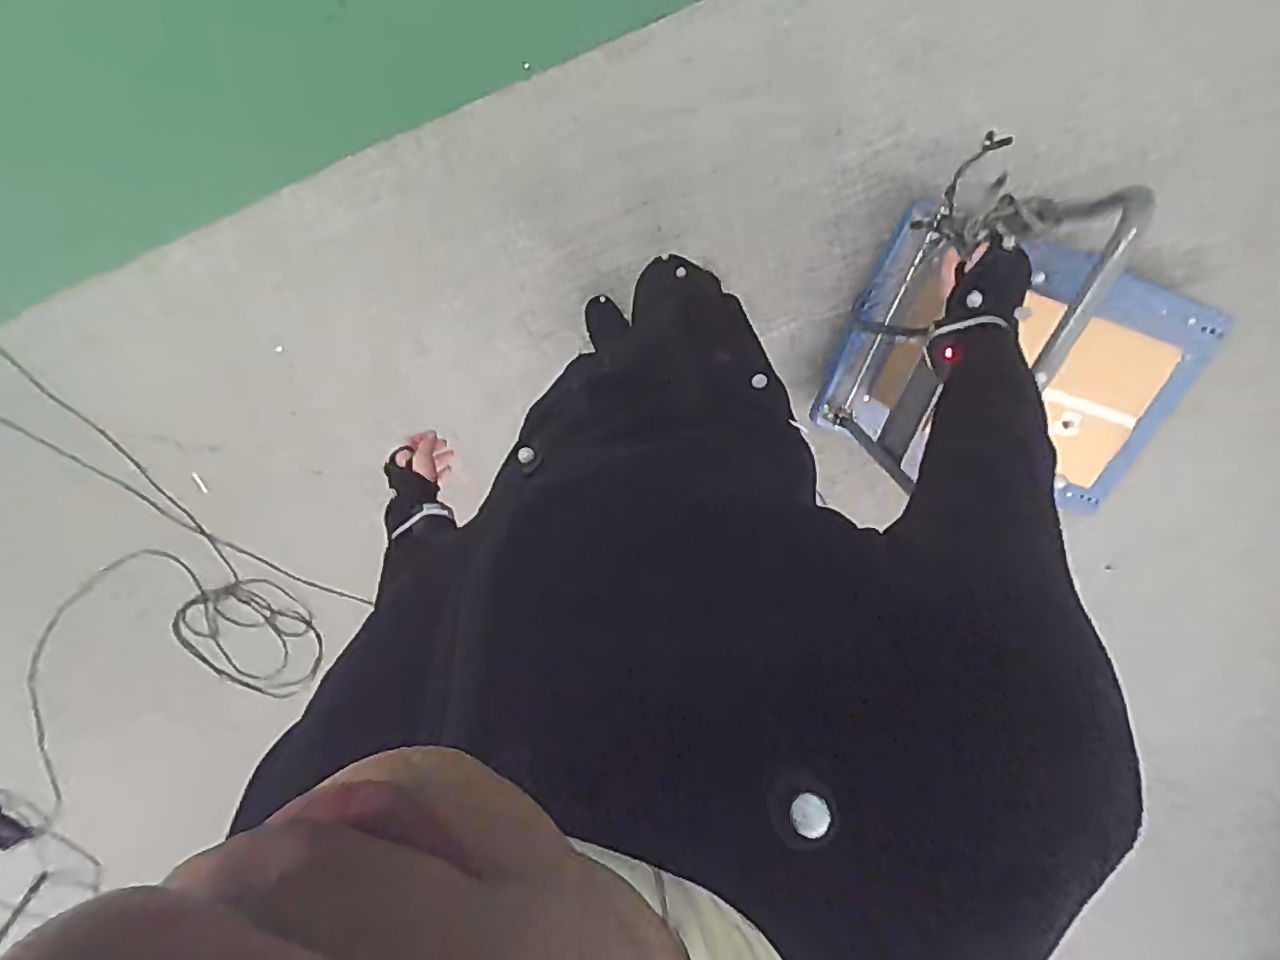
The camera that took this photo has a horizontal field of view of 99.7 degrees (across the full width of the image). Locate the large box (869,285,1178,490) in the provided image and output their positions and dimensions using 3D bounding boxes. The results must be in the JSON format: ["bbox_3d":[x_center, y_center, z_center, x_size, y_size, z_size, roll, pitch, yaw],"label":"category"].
[{"bbox_3d":[0.814,-0.222,1.221,0.408,0.320,0.320,17,113,-7],"label":"large box"}]
